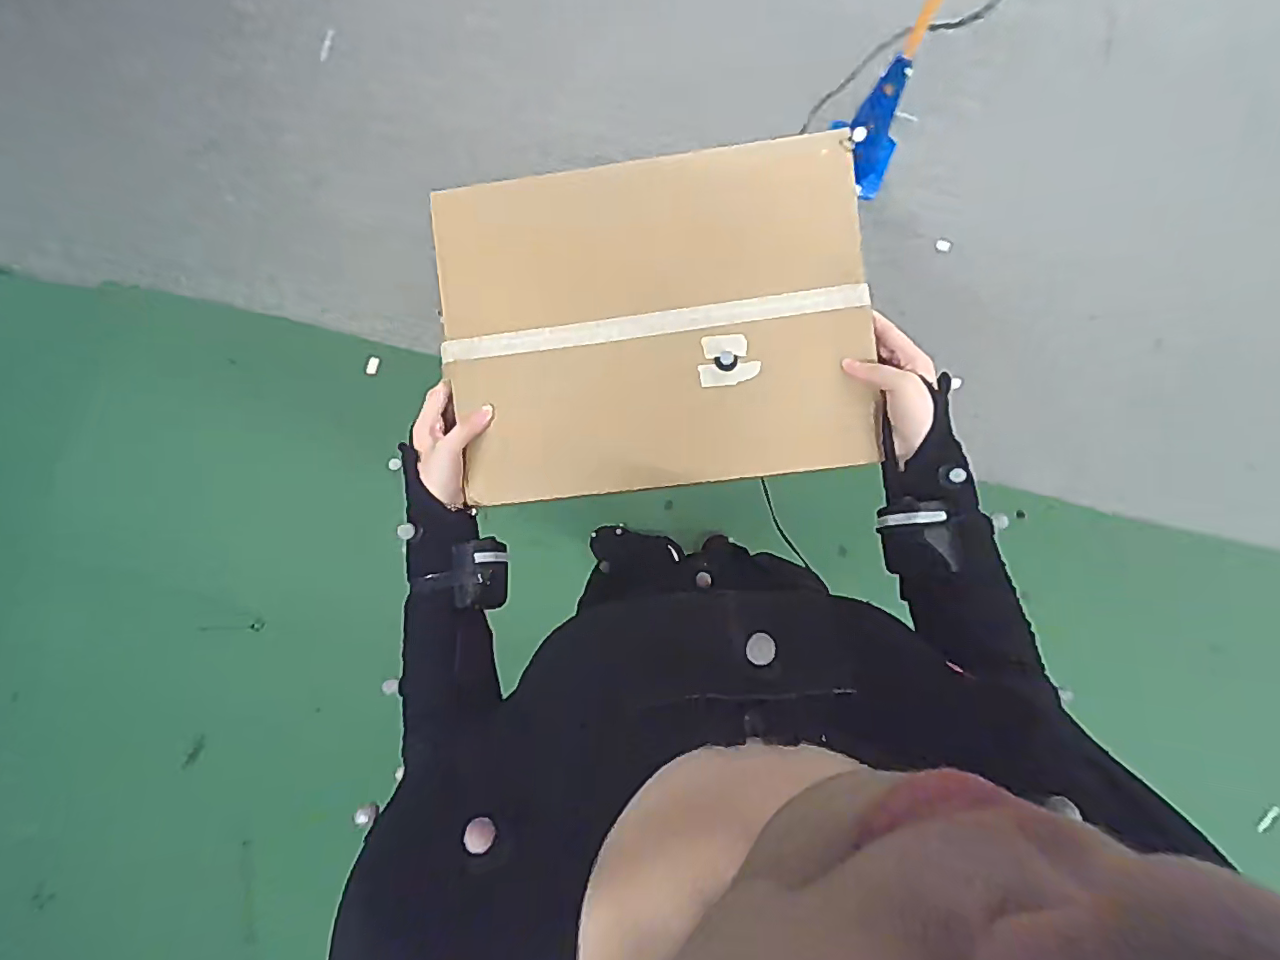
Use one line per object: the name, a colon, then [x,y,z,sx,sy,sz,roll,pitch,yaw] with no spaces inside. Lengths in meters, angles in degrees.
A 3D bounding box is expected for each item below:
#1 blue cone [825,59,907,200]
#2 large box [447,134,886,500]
blue cone: [0.599,-0.934,1.406,0.193,0.380,0.192,23,88,5]
large box: [0.028,-0.155,0.671,0.408,0.320,0.320,-6,91,3]
